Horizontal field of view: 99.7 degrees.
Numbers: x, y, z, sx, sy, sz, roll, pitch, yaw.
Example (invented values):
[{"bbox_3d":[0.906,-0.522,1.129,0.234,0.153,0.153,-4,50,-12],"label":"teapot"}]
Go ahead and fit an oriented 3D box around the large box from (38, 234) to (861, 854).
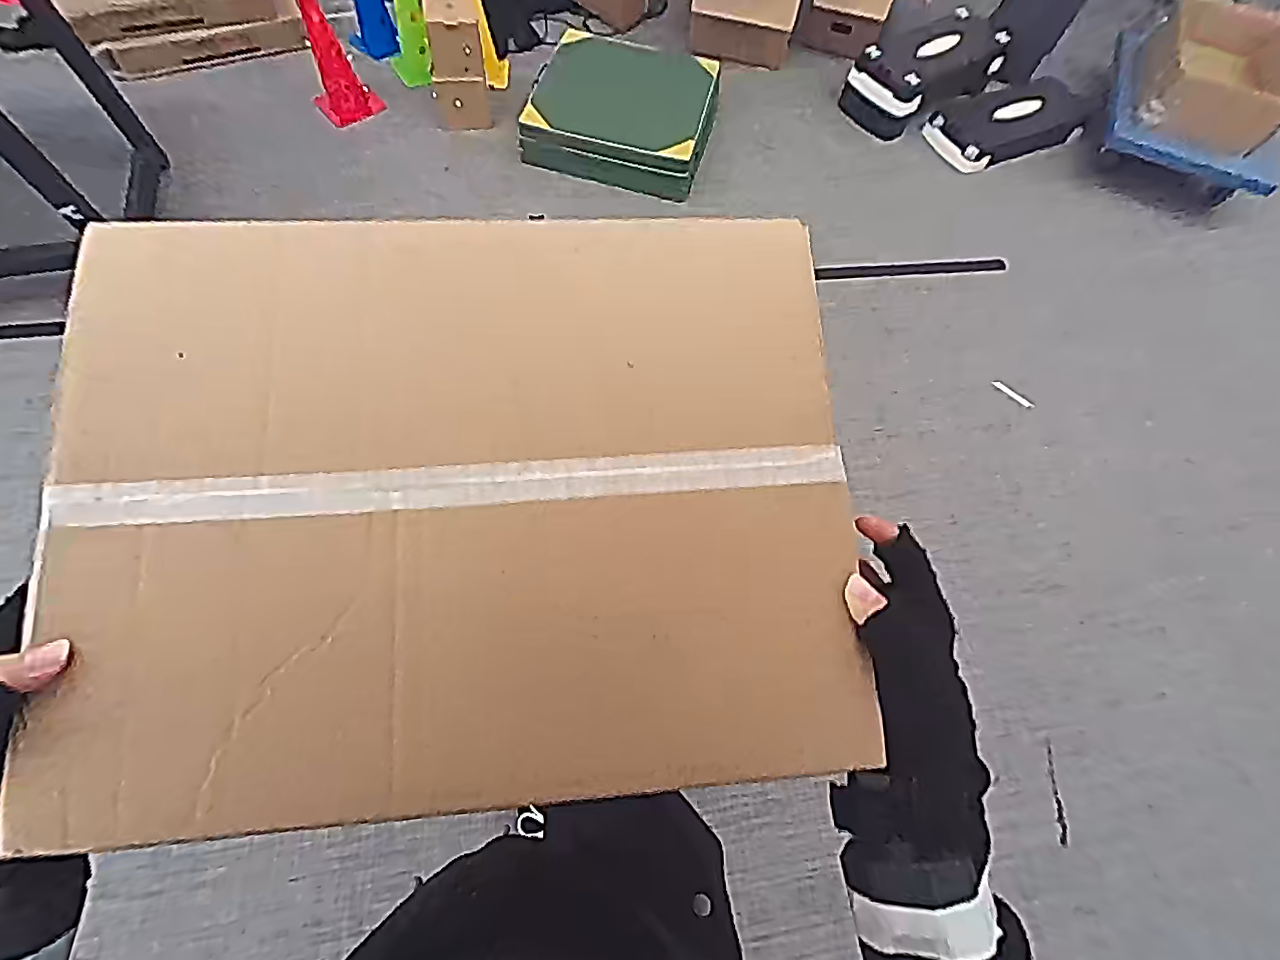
[{"bbox_3d":[-0.101,0.037,0.438,0.408,0.320,0.320,-3,78,-5],"label":"large box"}]
